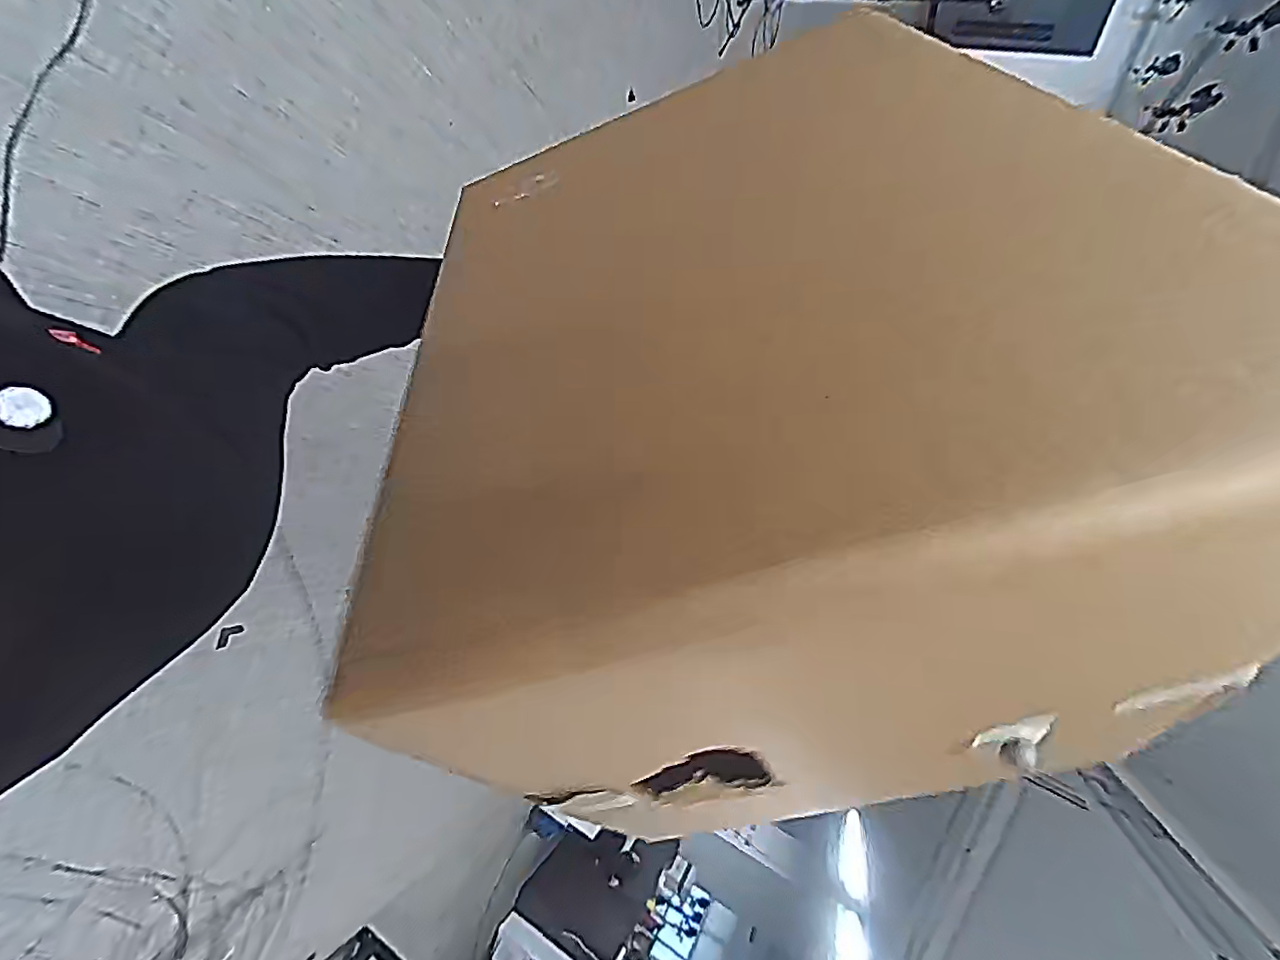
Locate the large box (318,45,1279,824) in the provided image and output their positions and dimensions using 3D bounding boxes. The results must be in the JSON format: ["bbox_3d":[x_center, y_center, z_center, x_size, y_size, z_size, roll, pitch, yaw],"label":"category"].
[{"bbox_3d":[0.072,-0.028,0.382,0.320,0.320,0.408,63,16,-47],"label":"large box"}]
